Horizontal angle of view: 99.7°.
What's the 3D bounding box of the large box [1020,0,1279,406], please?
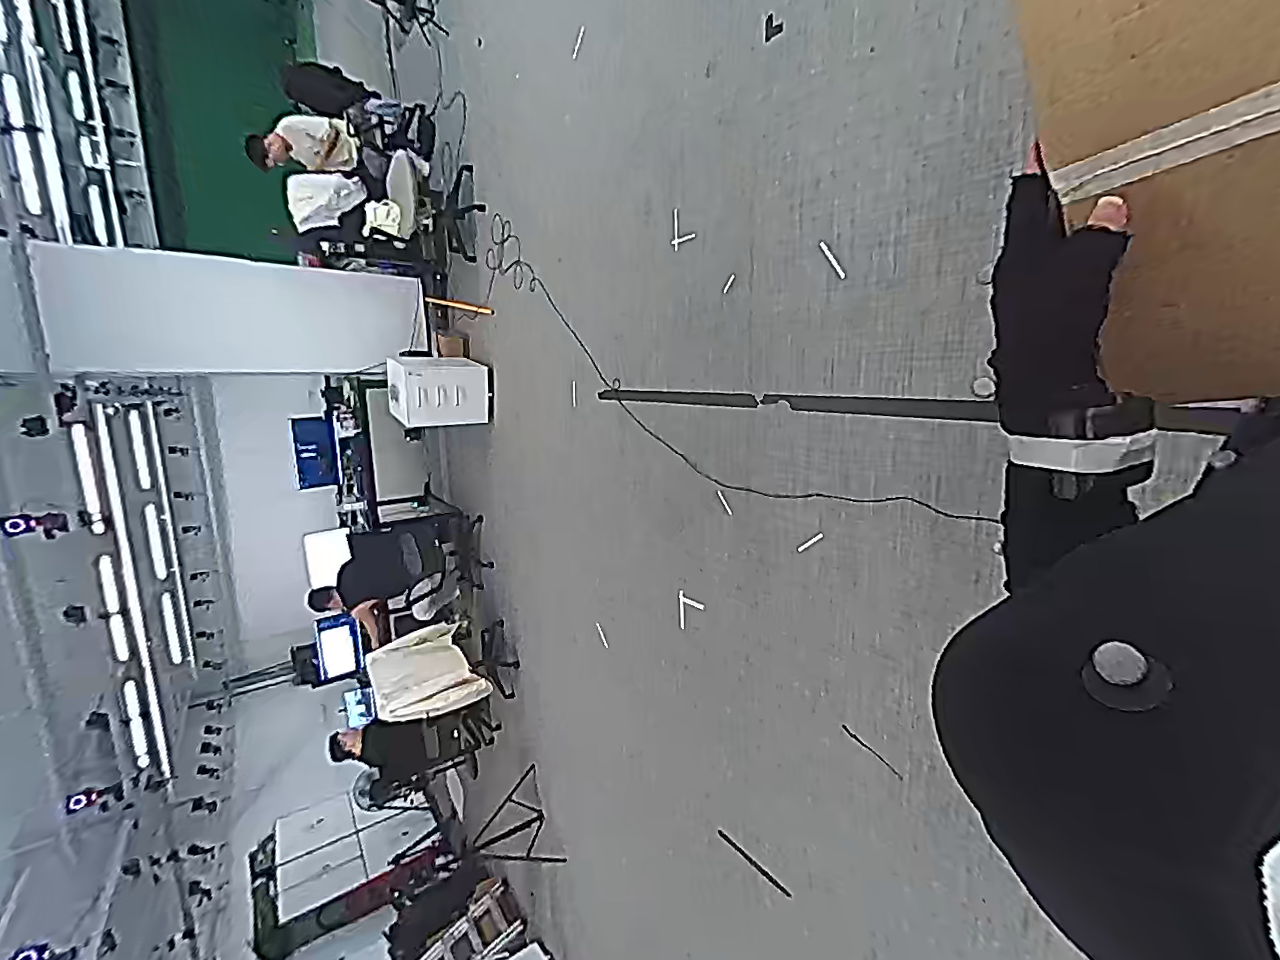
[{"bbox_3d":[0.473,-0.259,0.238,0.408,0.320,0.320,2,126,56],"label":"large box"}]
